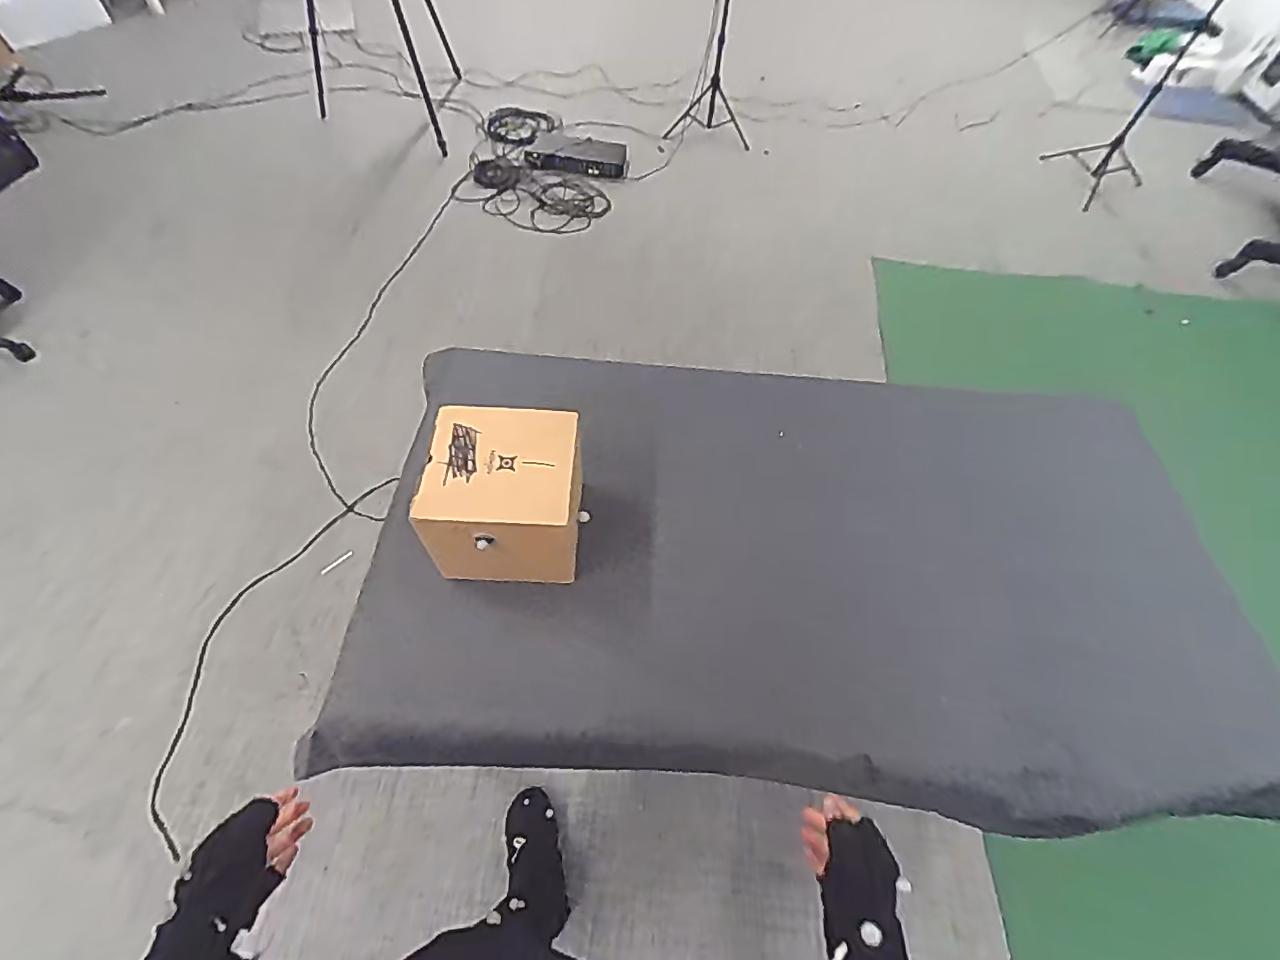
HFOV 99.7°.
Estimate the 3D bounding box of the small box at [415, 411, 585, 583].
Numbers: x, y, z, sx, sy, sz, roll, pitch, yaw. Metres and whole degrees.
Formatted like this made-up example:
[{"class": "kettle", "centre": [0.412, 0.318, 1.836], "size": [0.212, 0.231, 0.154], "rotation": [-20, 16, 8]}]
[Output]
[{"class": "small box", "centre": [-0.168, 0.028, 0.714], "size": [0.179, 0.176, 0.168], "rotation": [3, 57, -3]}]
